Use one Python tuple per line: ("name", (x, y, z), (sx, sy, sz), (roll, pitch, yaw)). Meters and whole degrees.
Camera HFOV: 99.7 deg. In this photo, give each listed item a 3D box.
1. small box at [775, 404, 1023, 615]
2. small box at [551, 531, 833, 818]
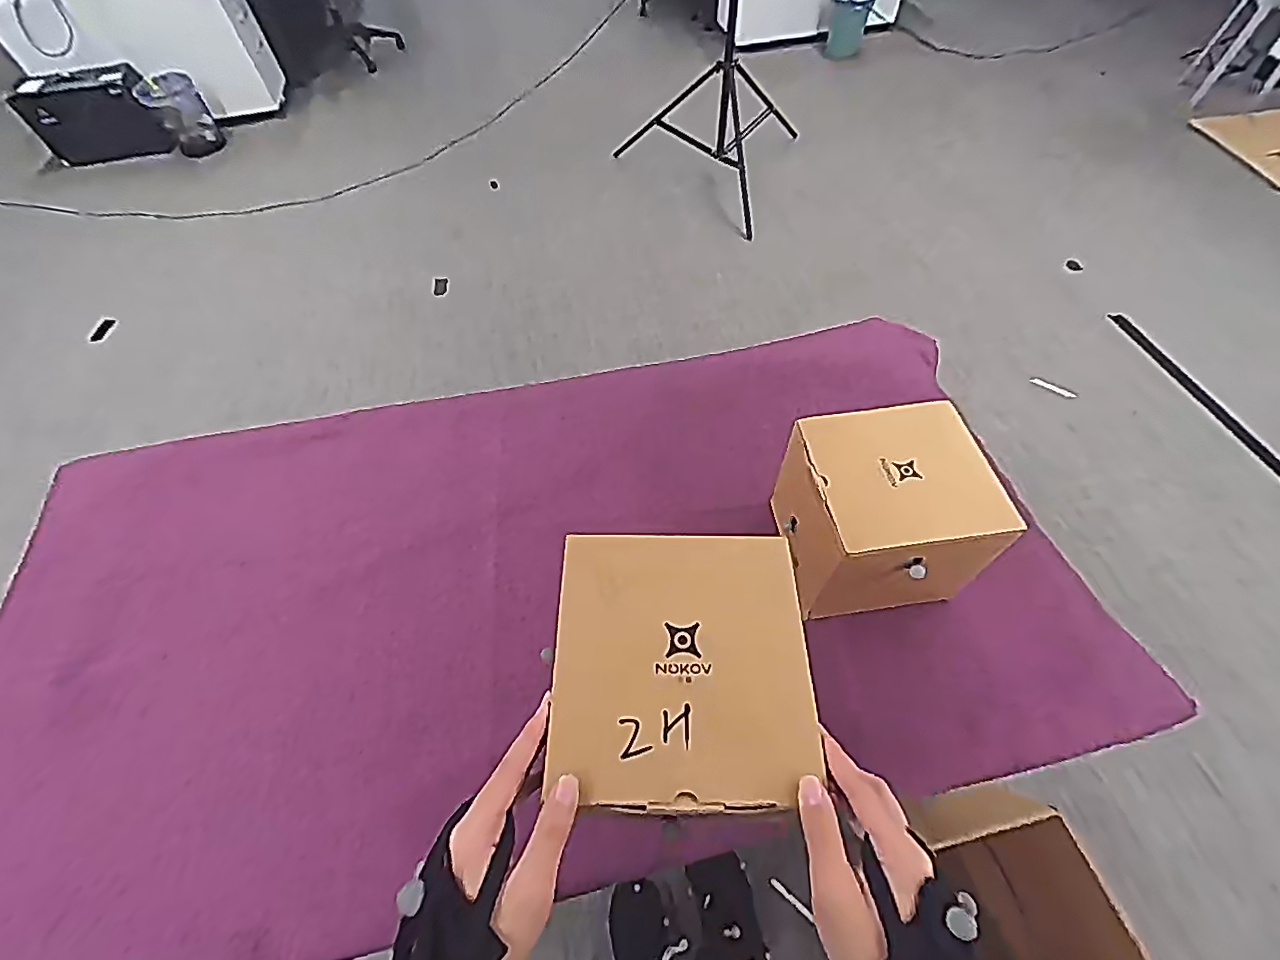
("small box", (0.268, 0.039, 0.611), (0.179, 0.176, 0.168), (-8, 55, -1))
("small box", (0.030, 0.156, 0.421), (0.168, 0.176, 0.179), (0, 56, 0))
